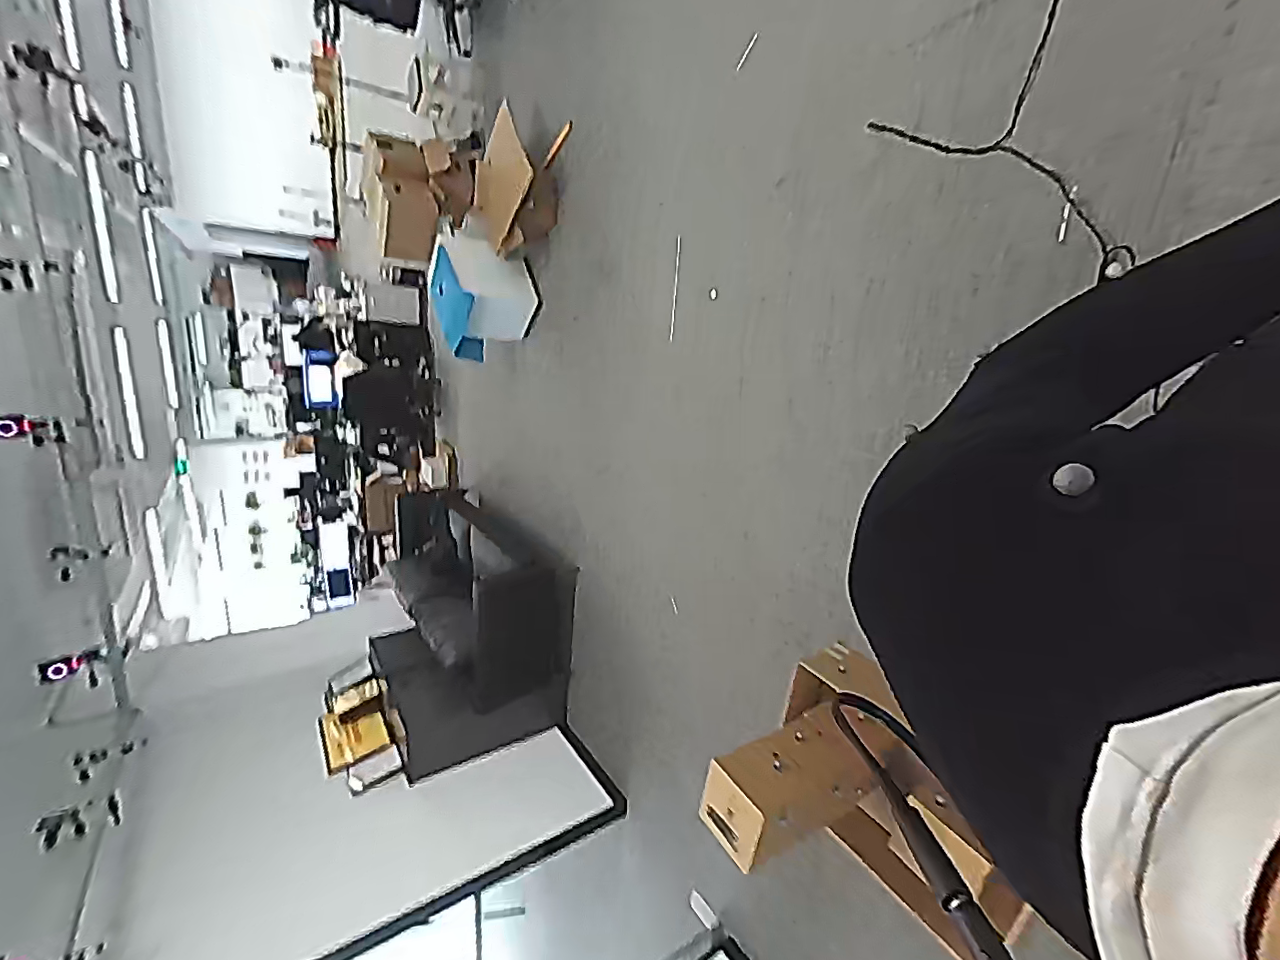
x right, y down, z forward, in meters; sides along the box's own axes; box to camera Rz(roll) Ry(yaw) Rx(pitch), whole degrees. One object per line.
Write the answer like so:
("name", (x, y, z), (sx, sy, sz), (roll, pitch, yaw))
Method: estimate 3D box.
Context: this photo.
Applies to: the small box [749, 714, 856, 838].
("small box", (0.397, 0.711, 1.321), (0.168, 0.176, 0.179), (32, 121, 49))
